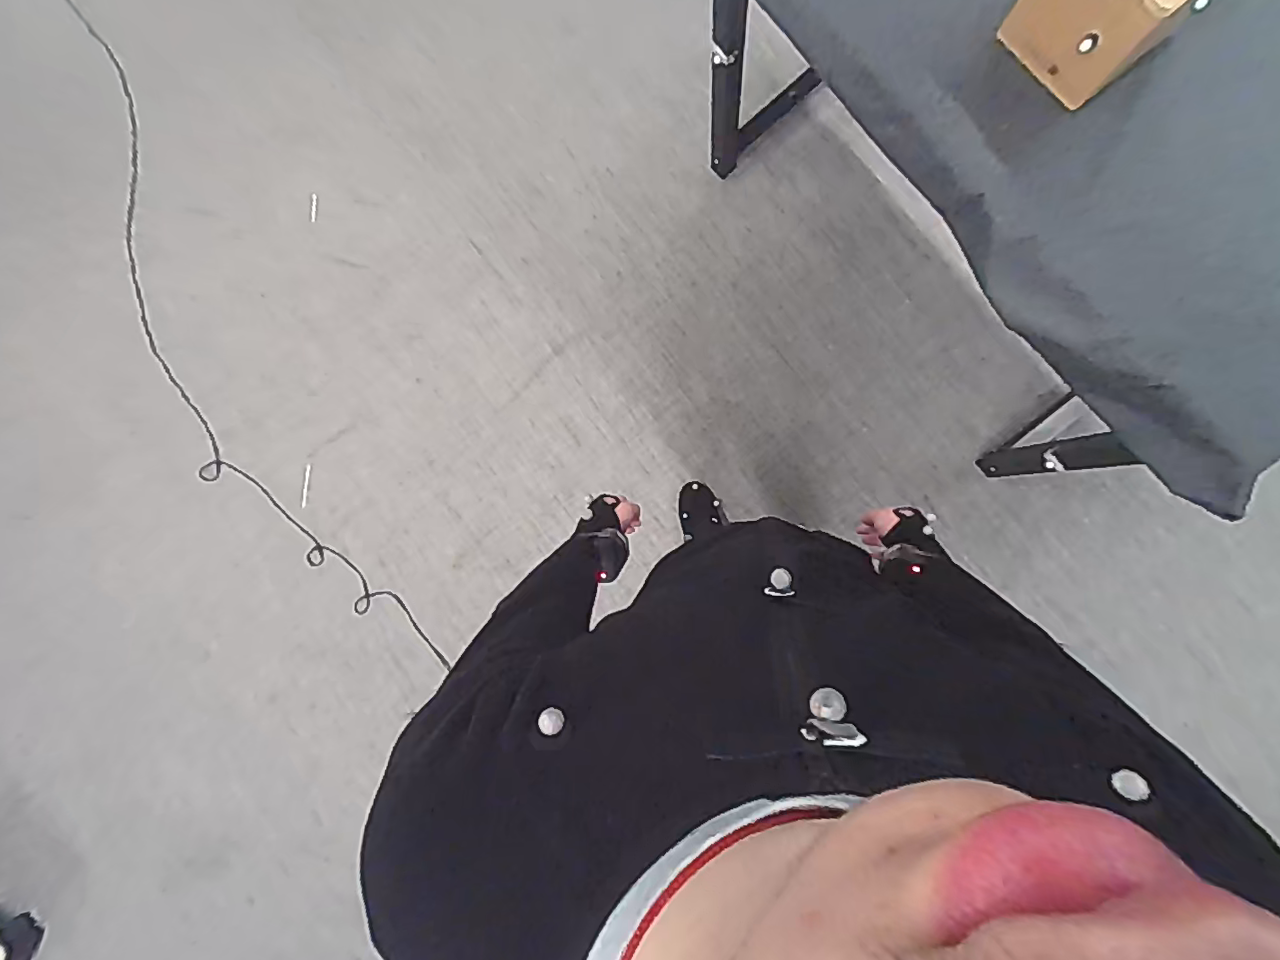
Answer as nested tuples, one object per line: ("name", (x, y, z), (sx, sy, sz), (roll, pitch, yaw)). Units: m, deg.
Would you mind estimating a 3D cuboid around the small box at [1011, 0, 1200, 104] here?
("small box", (0.639, -0.658, 0.715), (0.179, 0.176, 0.168), (-39, 86, 3))
